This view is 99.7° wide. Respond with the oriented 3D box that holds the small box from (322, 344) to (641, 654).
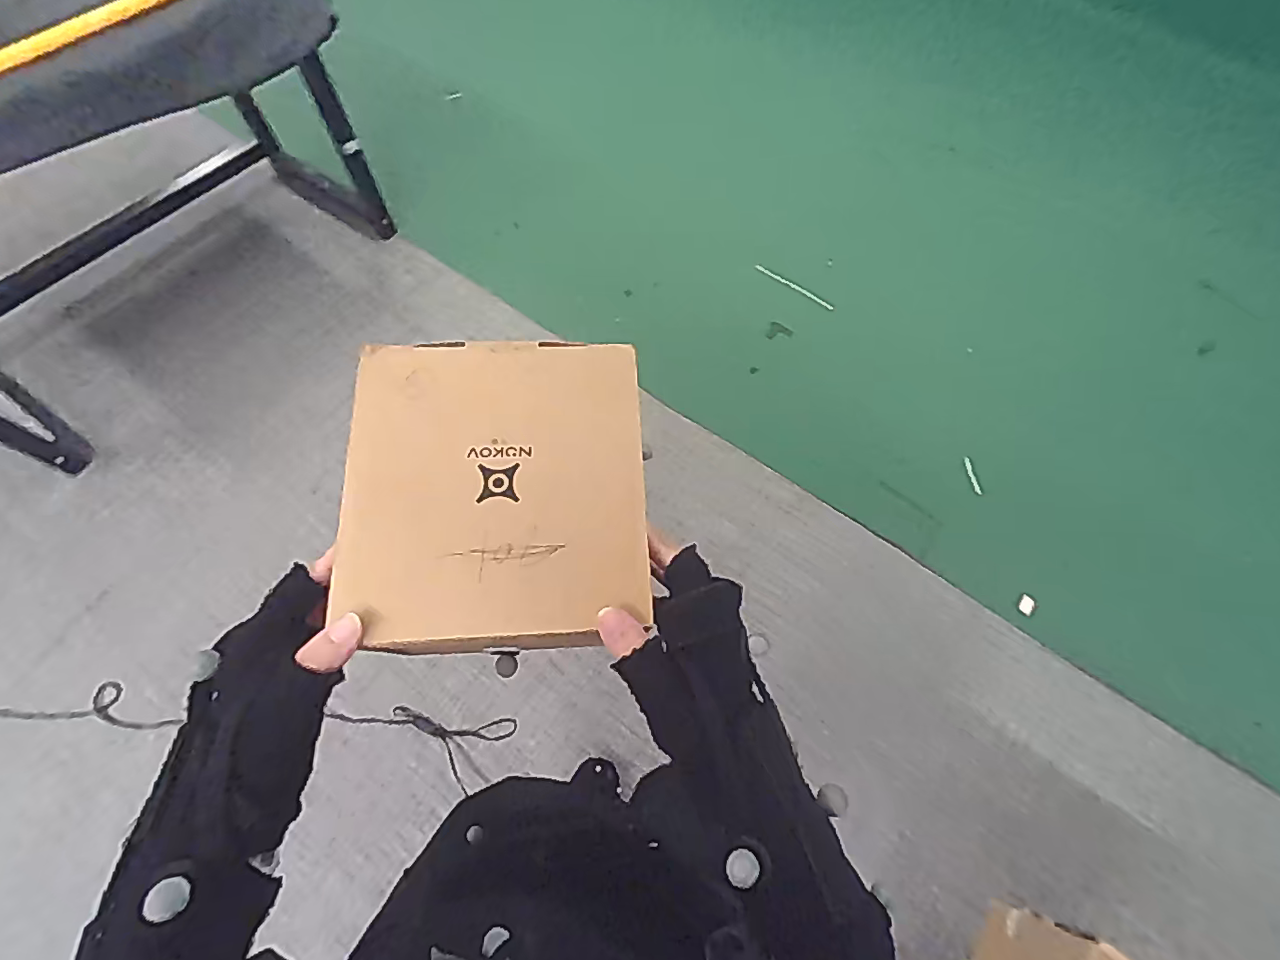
[{"bbox_3d":[-0.092,0.024,0.384,0.168,0.176,0.179,-2,71,-6],"label":"small box"}]
